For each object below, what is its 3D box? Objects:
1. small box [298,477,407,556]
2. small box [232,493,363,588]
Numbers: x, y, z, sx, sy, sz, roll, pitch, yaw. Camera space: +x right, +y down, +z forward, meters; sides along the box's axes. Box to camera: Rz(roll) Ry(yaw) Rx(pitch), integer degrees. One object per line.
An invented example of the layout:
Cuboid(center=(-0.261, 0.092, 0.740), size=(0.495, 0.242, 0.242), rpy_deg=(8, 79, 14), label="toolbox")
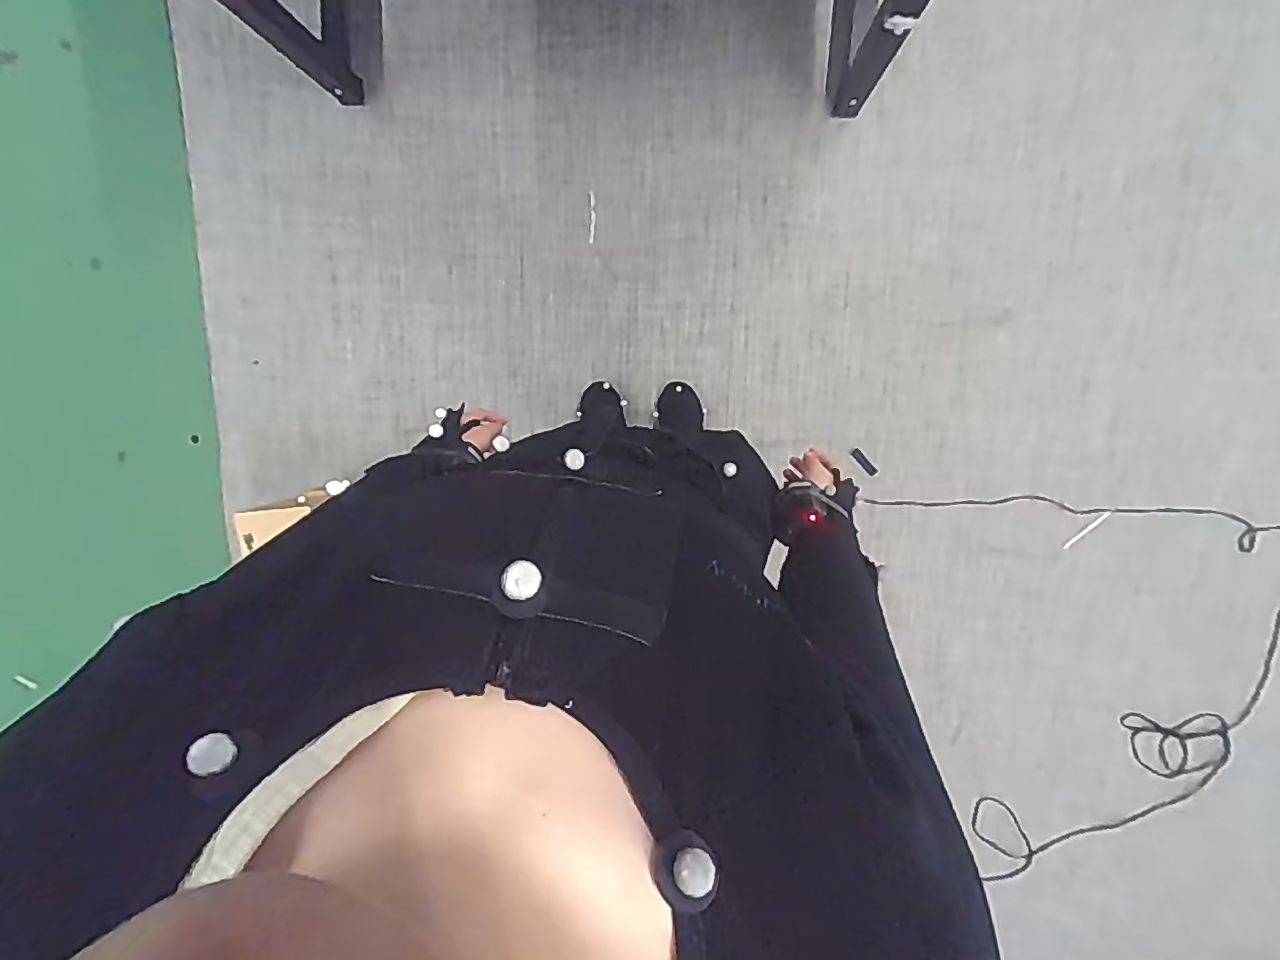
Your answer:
Cuboid(center=(-0.703, 0.089, 1.347), size=(0.179, 0.176, 0.168), rpy_deg=(-4, 98, 6), label="small box")
Cuboid(center=(-0.737, 0.126, 1.189), size=(0.179, 0.176, 0.168), rpy_deg=(-6, 98, 4), label="small box")
